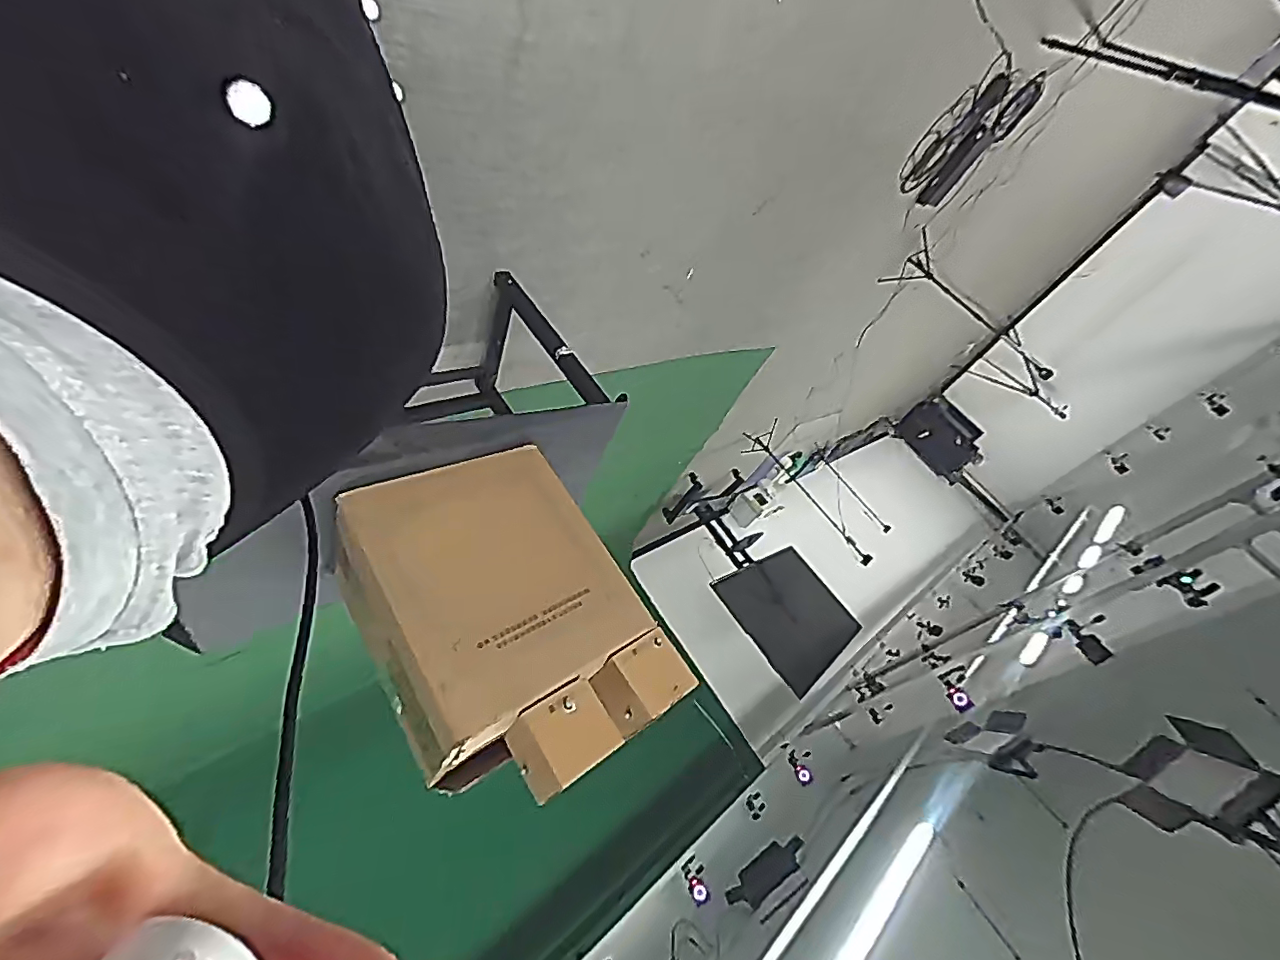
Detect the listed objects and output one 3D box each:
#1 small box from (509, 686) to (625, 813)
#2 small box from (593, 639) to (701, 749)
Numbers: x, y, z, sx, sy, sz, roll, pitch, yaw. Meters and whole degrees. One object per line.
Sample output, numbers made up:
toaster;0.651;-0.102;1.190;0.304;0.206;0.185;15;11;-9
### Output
small box;-0.166;0.581;1.179;0.168;0.176;0.179;-21;153;-39
small box;0.010;0.516;1.328;0.168;0.176;0.179;-20;154;-41
